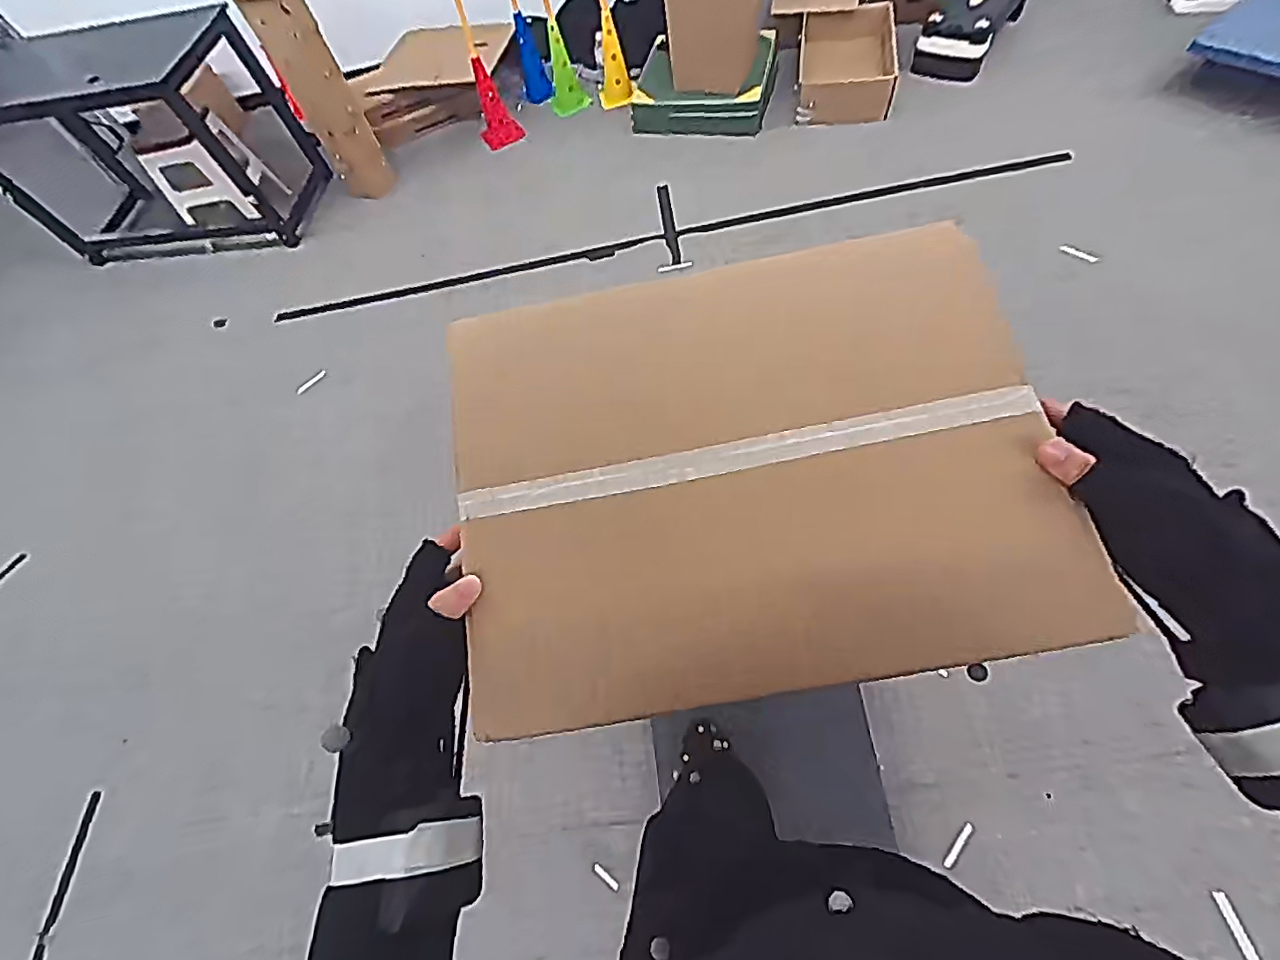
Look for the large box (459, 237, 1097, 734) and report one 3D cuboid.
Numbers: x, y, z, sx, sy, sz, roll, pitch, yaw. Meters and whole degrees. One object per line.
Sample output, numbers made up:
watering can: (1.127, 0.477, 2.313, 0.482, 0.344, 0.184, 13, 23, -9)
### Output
large box: (0.085, 0.028, 0.531, 0.408, 0.320, 0.320, -10, 71, 2)
